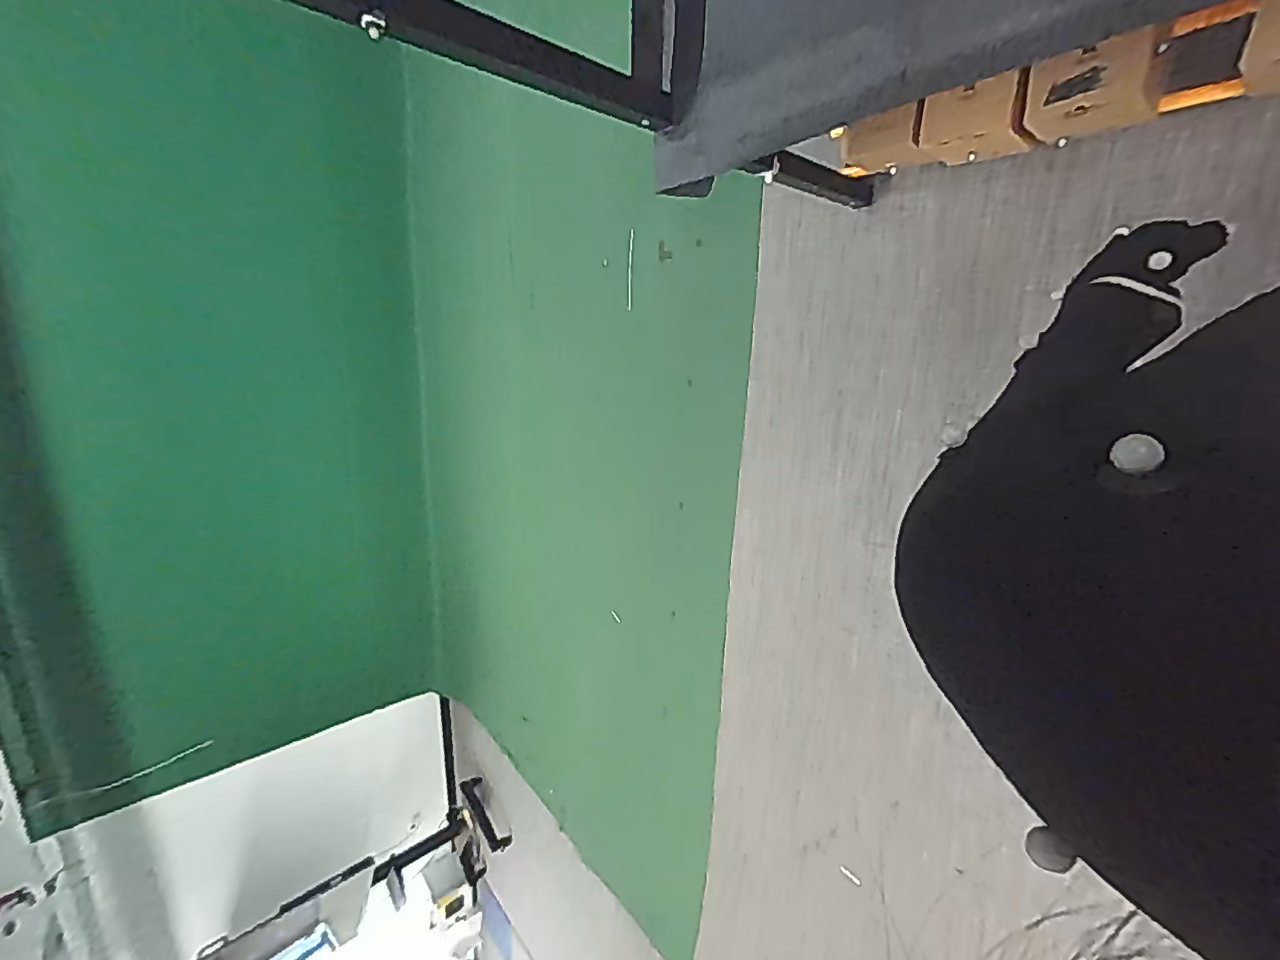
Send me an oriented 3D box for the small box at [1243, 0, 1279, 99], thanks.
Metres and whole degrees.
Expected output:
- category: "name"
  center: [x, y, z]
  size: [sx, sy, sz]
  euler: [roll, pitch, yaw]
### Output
- category: "small box"
  center: [1.010, -0.679, 0.766]
  size: [0.168, 0.176, 0.179]
  euler: [24, 118, 46]
